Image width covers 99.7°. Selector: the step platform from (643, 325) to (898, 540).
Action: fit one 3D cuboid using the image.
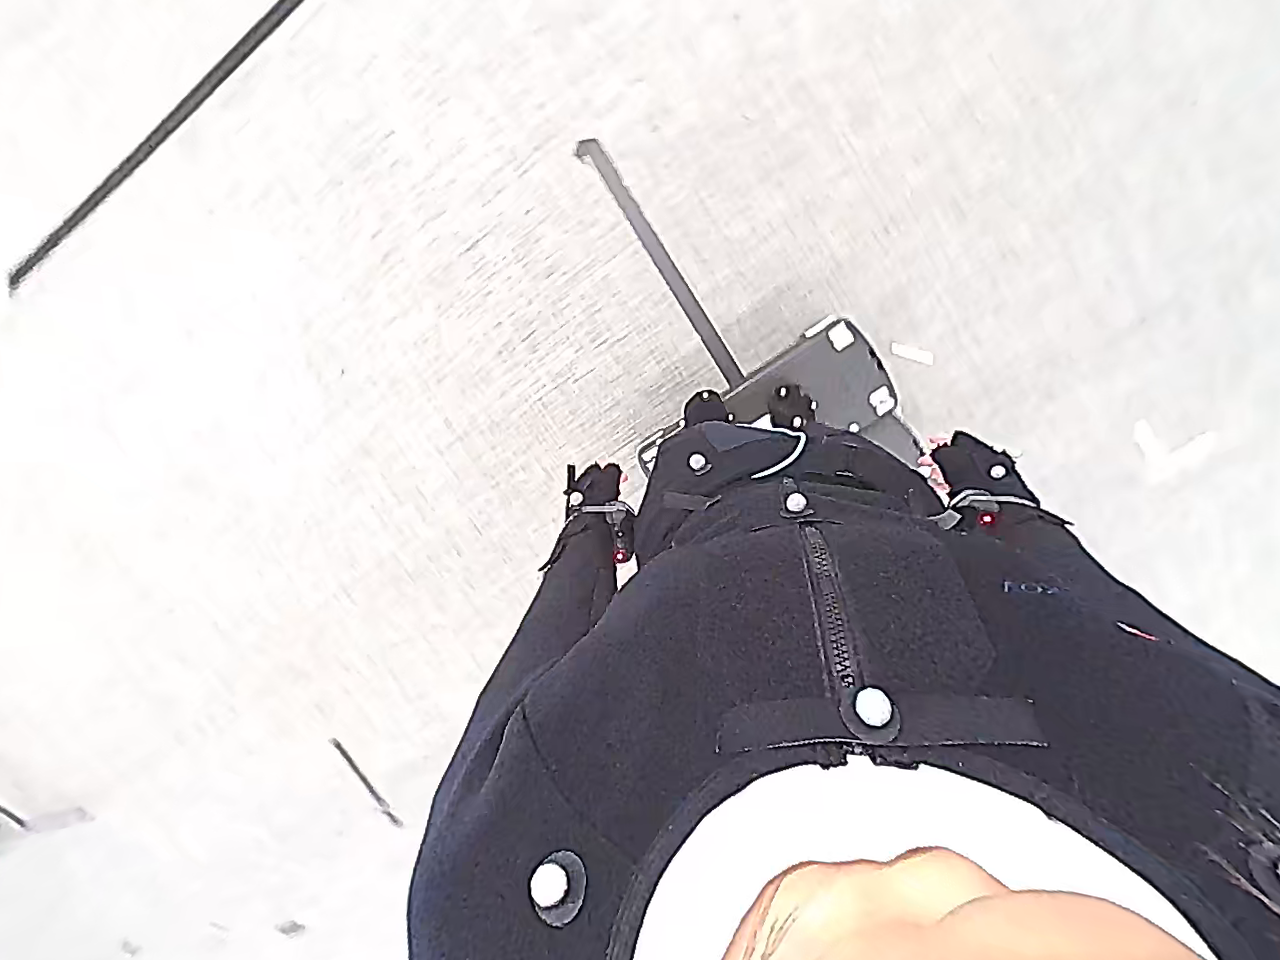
[{"bbox_3d":[0.342,-0.125,1.500,0.684,0.204,0.286,-35,97,10],"label":"step platform"}]
